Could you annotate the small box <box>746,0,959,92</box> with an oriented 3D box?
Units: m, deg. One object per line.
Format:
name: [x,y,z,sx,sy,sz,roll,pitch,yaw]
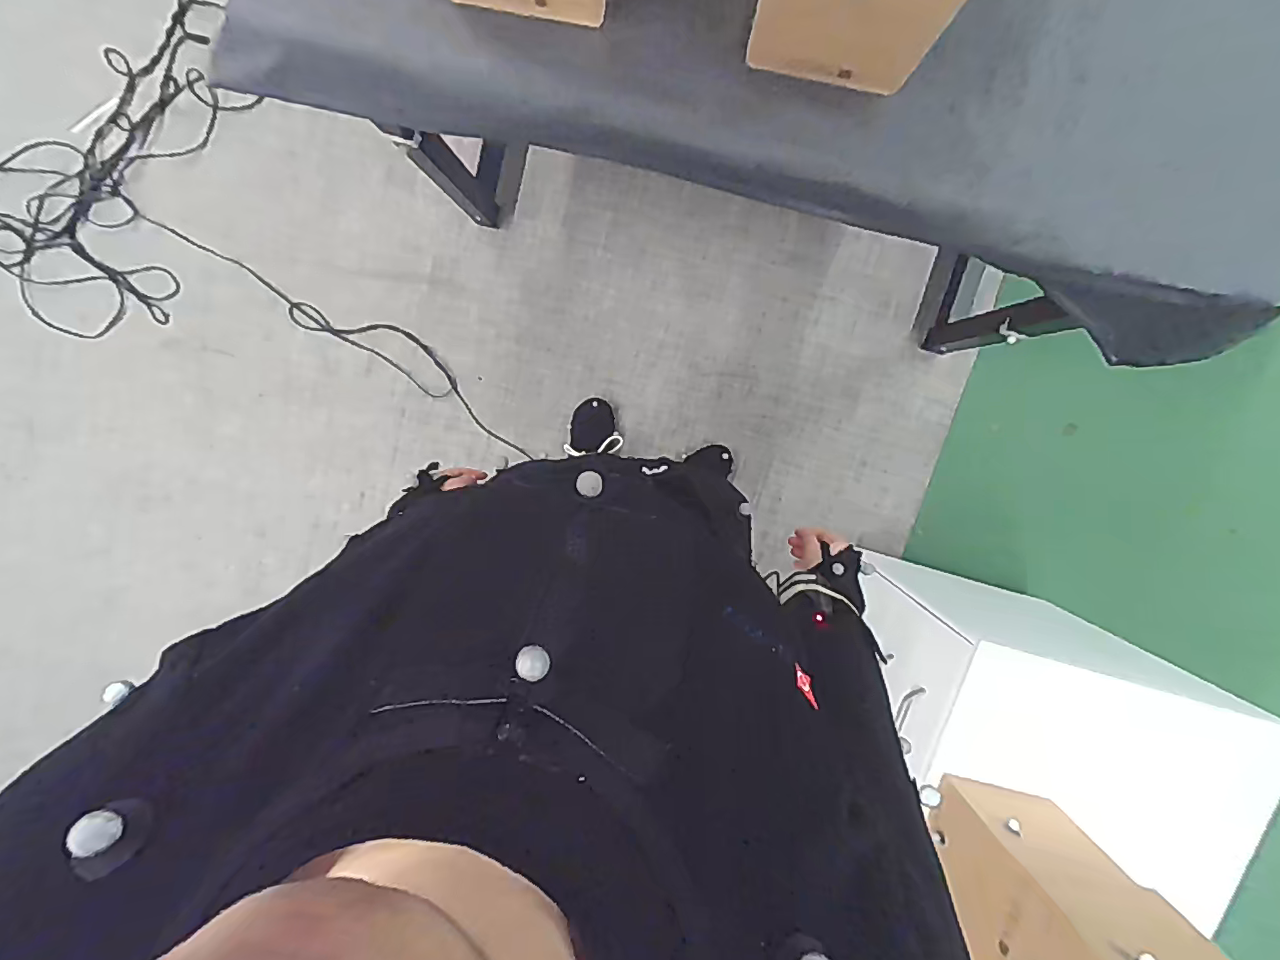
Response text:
small box: [0.203,-0.503,0.486,0.168,0.176,0.179,12,97,-1]

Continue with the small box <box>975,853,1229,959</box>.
small box: [0.518,0.560,0.600,0.179,0.176,0.168,12,98,-1]

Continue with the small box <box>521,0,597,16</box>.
small box: [-0.113,-0.572,0.483,0.168,0.176,0.179,10,98,0]
